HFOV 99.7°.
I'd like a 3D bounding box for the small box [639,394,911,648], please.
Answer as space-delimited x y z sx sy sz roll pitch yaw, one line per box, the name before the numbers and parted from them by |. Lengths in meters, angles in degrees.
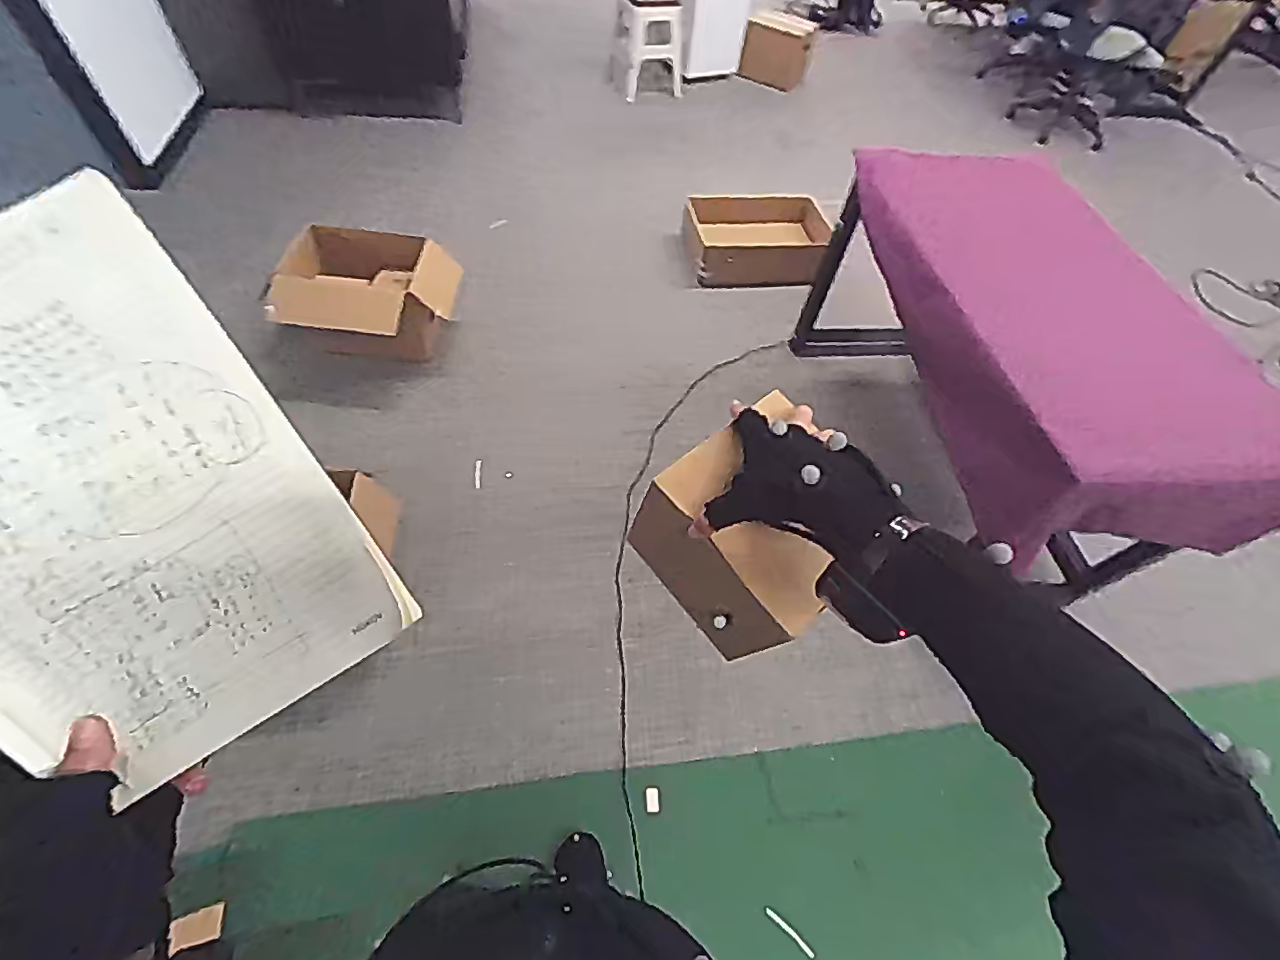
small box | 0.121 0.053 0.552 0.168 0.176 0.179 -34 76 -22
